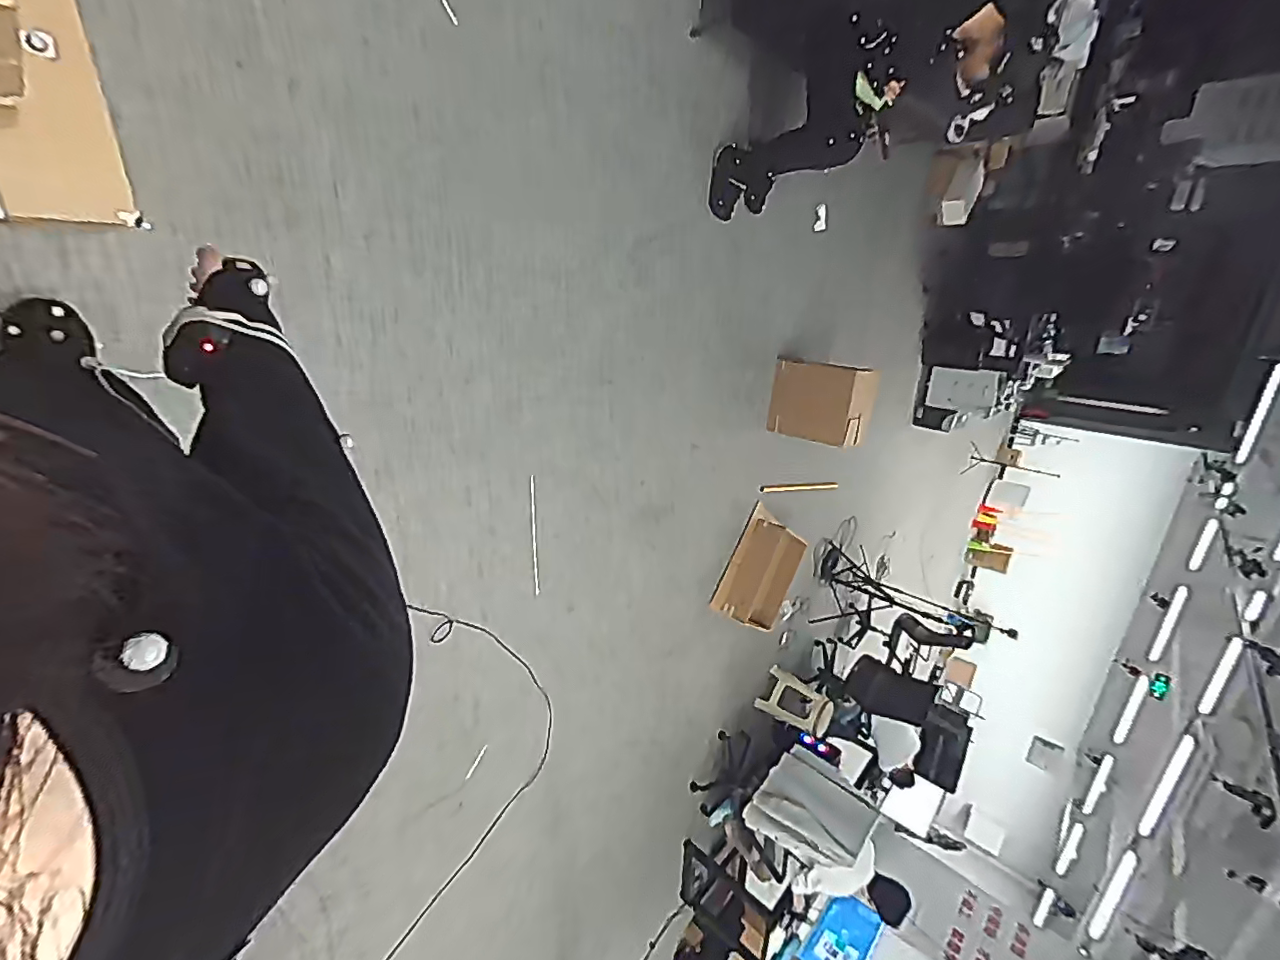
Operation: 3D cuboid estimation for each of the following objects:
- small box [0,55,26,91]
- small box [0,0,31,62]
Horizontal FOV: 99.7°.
[{"bbox_3d":[-0.709,-0.469,0.485,0.168,0.176,0.179,-29,127,-38],"label":"small box"},{"bbox_3d":[-0.590,-0.425,0.378,0.168,0.176,0.179,-29,126,-37],"label":"small box"}]
